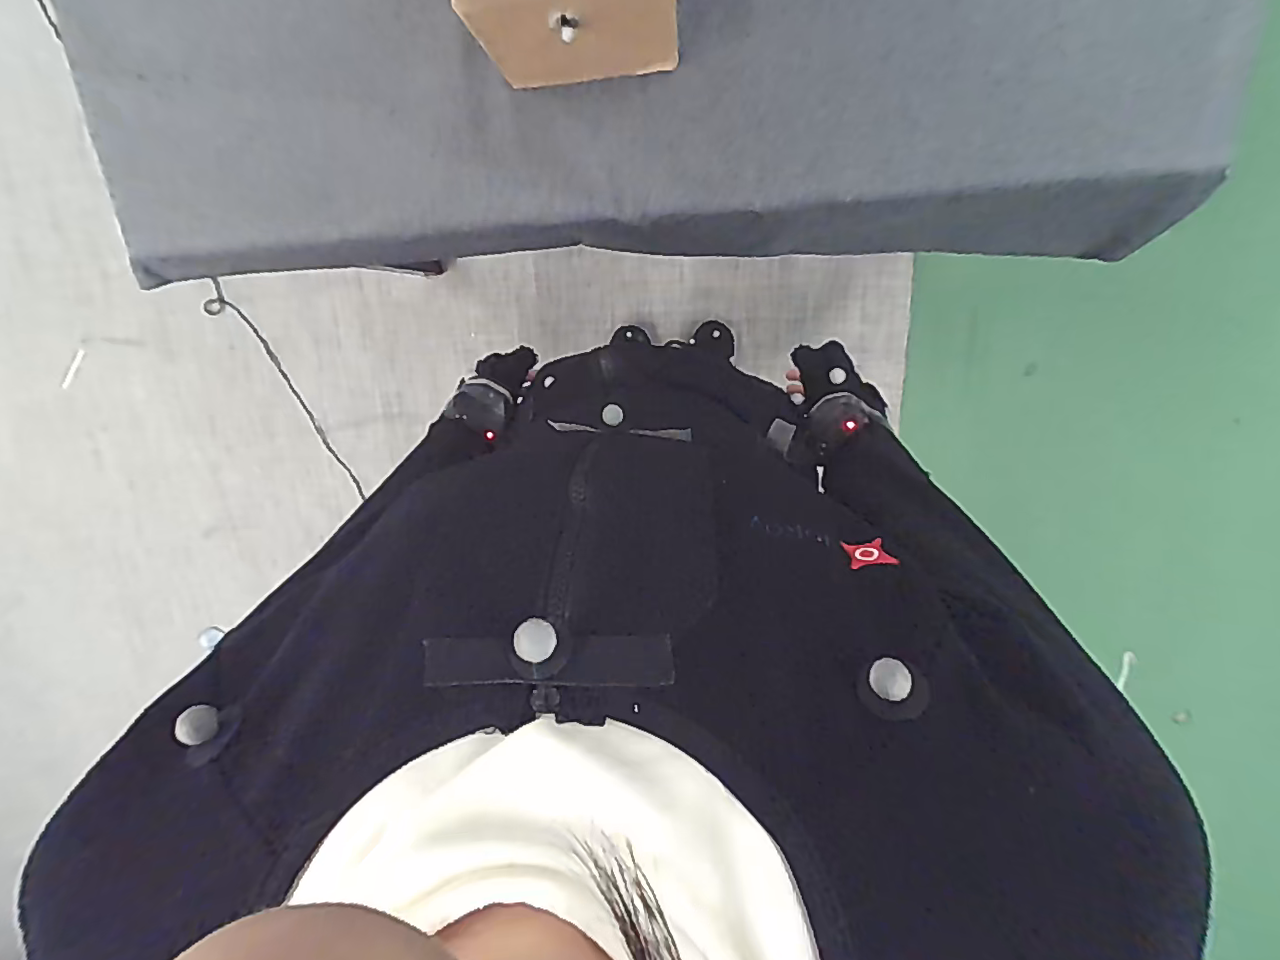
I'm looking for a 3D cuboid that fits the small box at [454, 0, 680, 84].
[{"bbox_3d":[-0.058,-0.473,0.466,0.179,0.176,0.168,-3,108,5],"label":"small box"}]

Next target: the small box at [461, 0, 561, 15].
[{"bbox_3d":[-0.065,-0.418,0.312,0.179,0.176,0.168,-6,108,7],"label":"small box"}]
